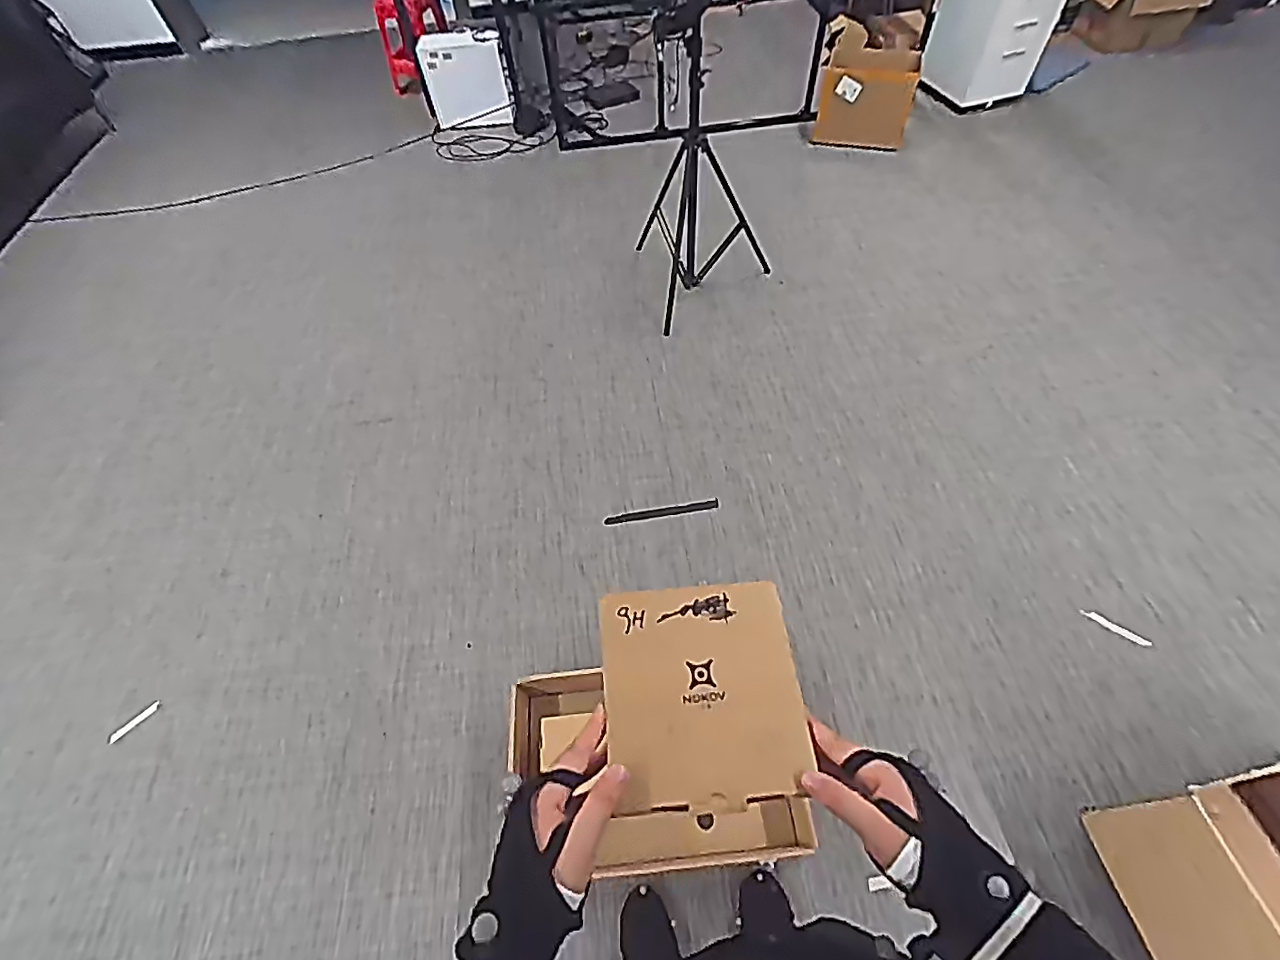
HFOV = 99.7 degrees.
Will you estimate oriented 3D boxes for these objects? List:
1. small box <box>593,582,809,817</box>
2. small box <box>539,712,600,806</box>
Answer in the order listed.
[{"bbox_3d":[0.045,0.215,0.524,0.168,0.176,0.179,-4,59,-4],"label":"small box"},{"bbox_3d":[-0.123,0.625,1.208,0.179,0.176,0.168,-6,58,-2],"label":"small box"}]
